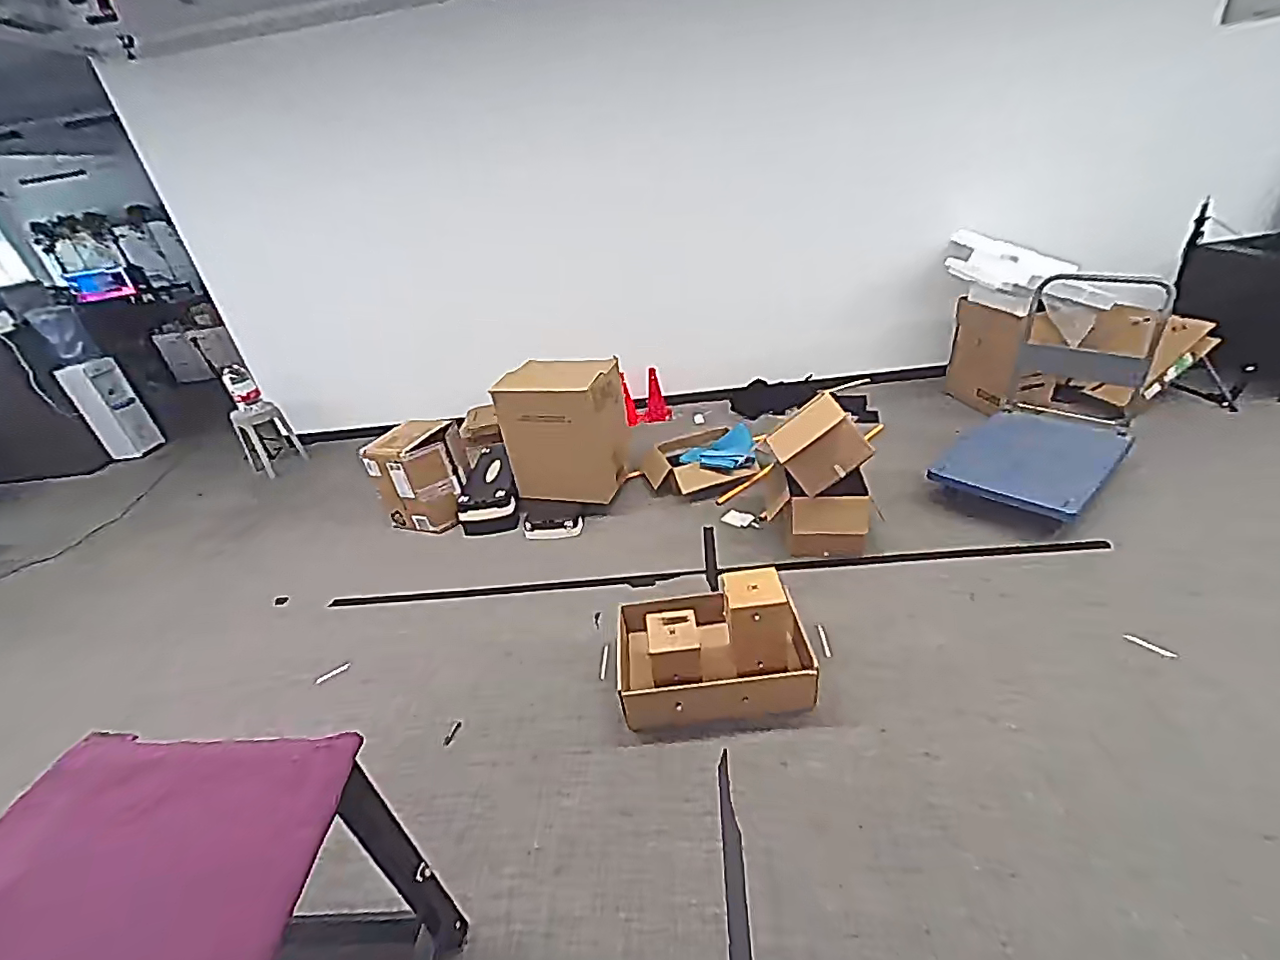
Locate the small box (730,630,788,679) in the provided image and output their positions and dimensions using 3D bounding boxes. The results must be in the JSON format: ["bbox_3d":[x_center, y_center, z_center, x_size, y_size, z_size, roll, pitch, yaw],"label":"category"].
[{"bbox_3d":[0.396,0.546,1.810,0.168,0.176,0.179,-7,29,3],"label":"small box"}]

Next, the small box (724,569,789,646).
[{"bbox_3d":[0.371,0.408,1.727,0.179,0.176,0.168,-8,30,3],"label":"small box"}]
